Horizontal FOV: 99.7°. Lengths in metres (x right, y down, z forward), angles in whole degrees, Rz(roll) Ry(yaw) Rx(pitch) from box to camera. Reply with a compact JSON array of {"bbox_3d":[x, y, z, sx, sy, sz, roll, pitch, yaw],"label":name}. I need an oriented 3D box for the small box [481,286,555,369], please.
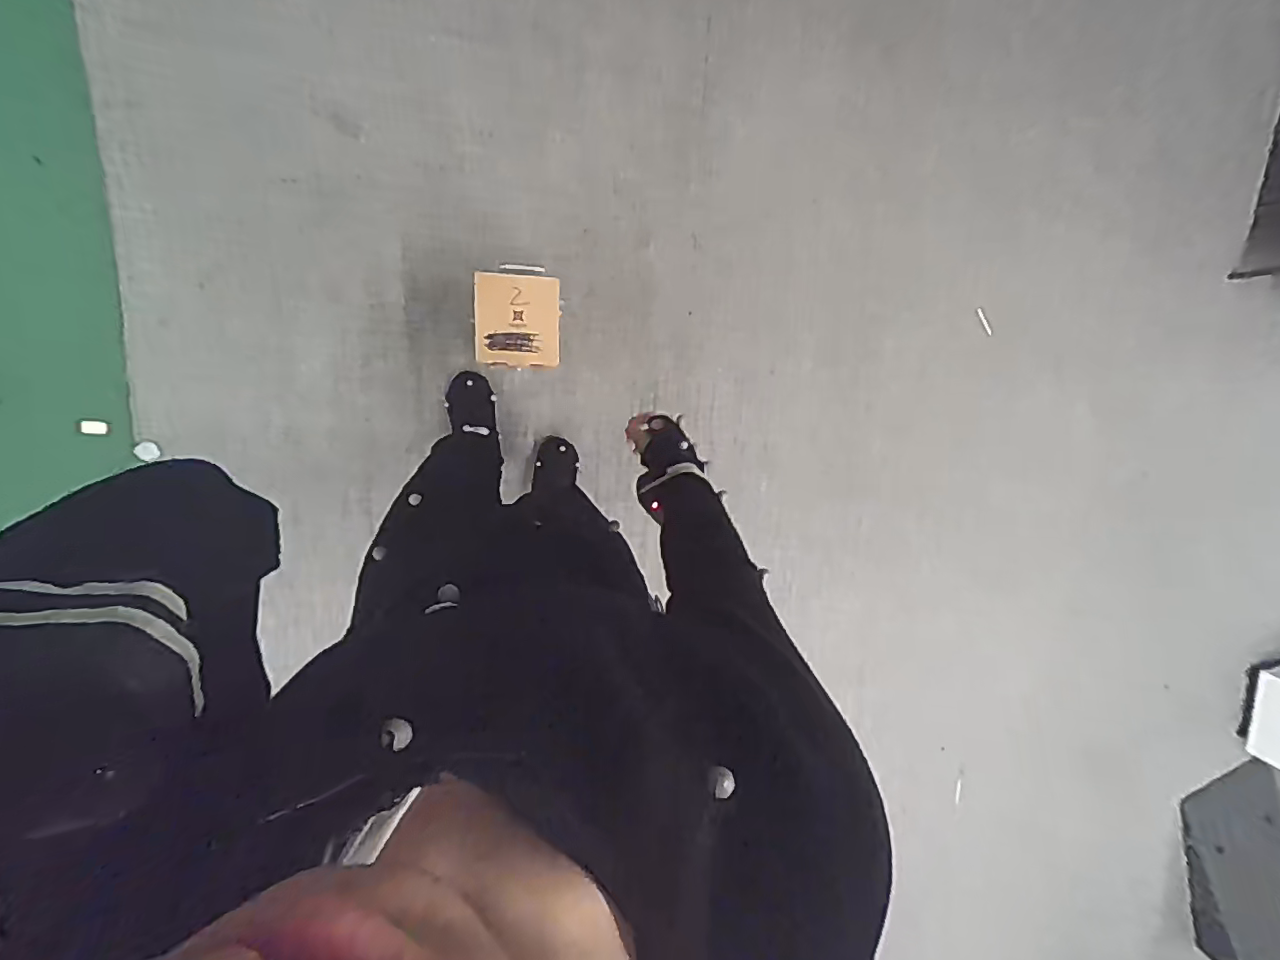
[{"bbox_3d":[-0.297,-0.363,1.309,0.168,0.176,0.179,1,103,-13],"label":"small box"}]
